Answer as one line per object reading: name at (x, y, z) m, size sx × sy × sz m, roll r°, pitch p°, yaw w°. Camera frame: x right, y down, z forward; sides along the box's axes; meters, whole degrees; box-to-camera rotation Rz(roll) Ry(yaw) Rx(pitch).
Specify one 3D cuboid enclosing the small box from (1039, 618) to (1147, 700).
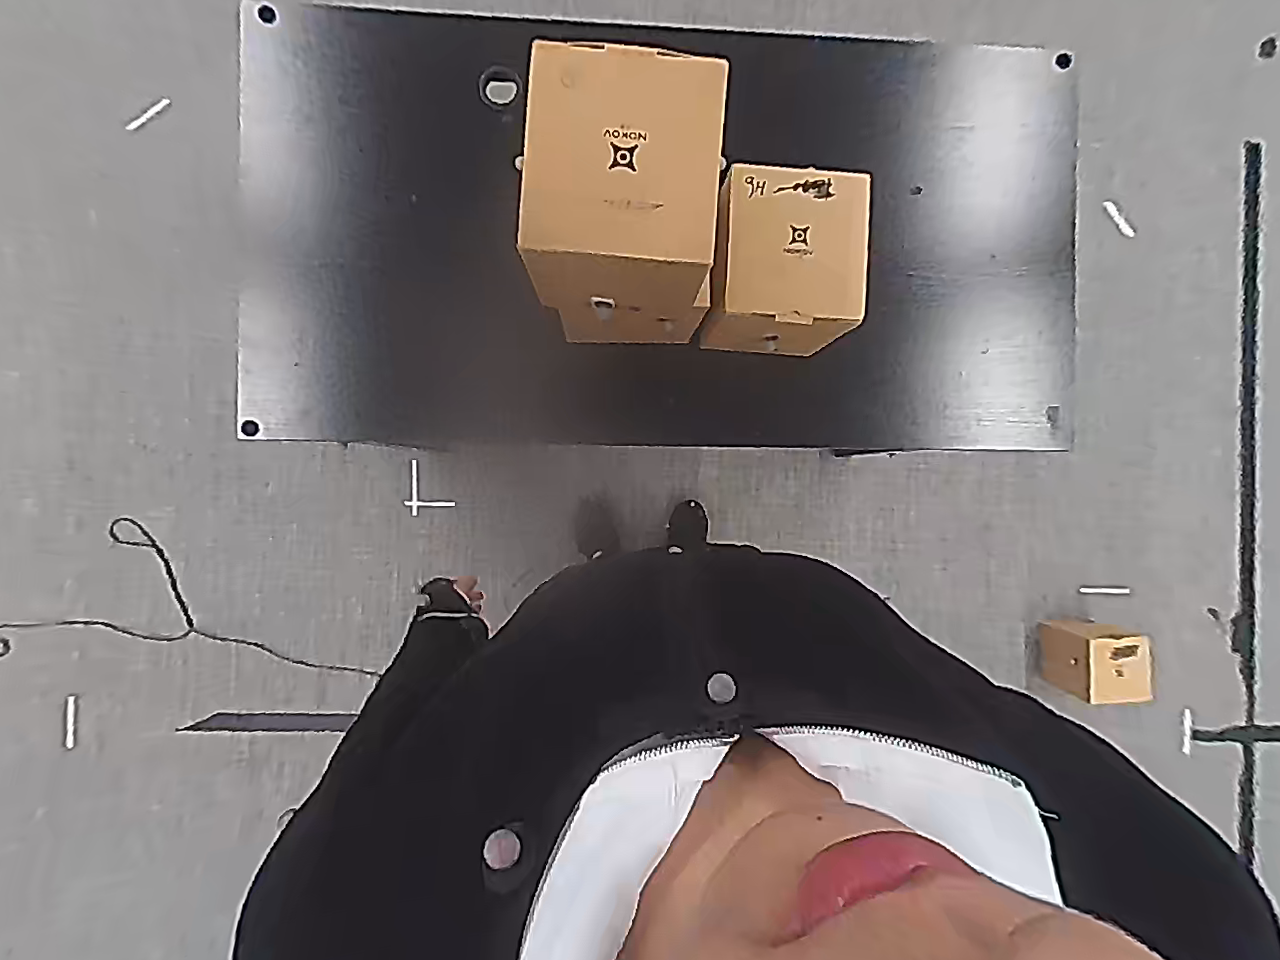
small box at (1.246, 0.488, 1.497) m, size 0.168 × 0.176 × 0.179 m, roll -2°, pitch 91°, yaw -3°

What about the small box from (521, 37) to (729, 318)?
small box at (-0.016, -0.275, 0.529) m, size 0.168 × 0.176 × 0.179 m, roll 4°, pitch 91°, yaw -2°
